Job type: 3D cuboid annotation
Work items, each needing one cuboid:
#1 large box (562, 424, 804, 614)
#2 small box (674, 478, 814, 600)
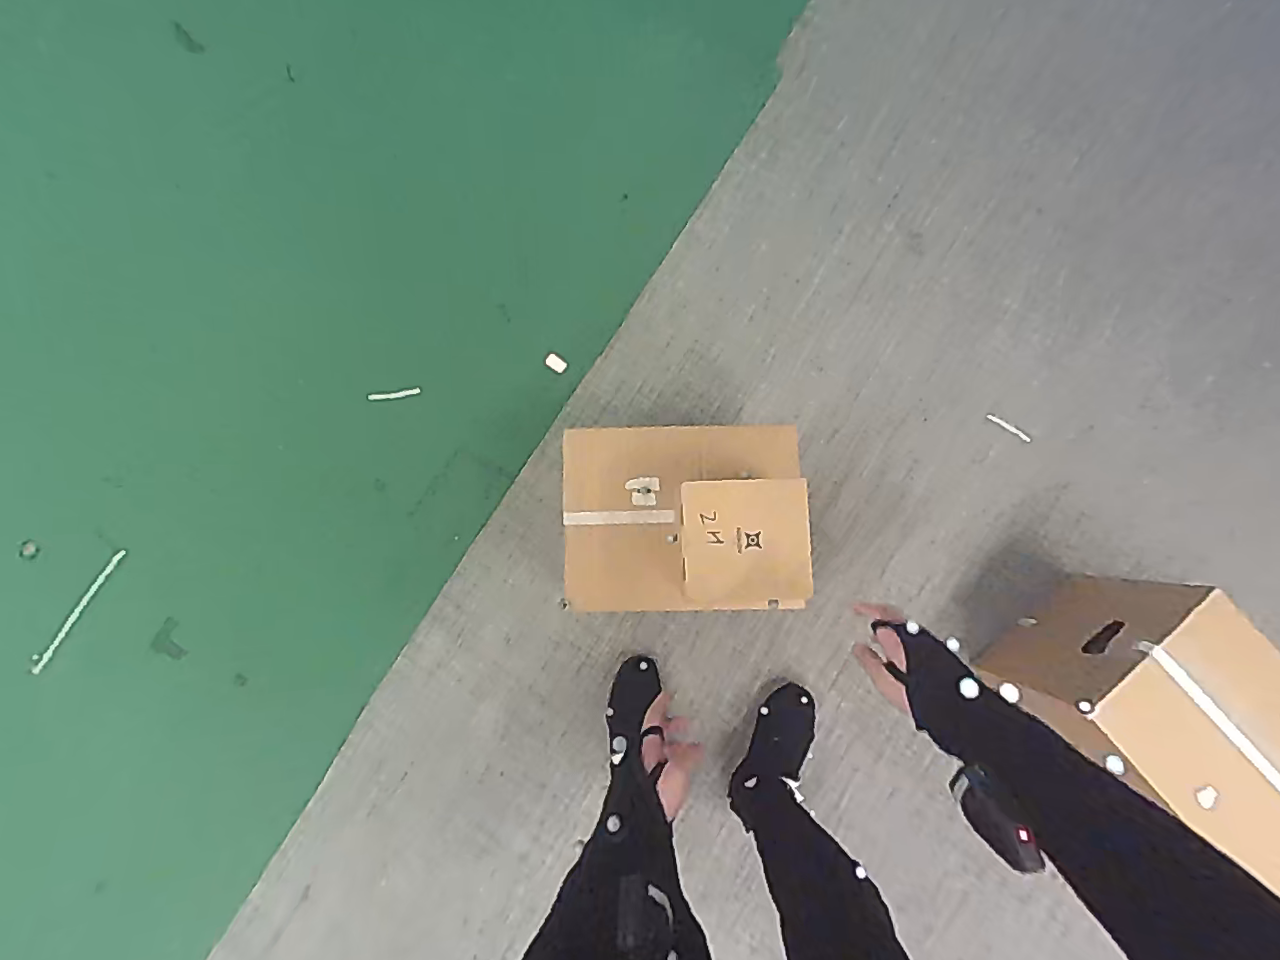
[{"bbox_3d":[0.074,0.079,1.057,0.408,0.320,0.320,-1,83,1],"label":"large box"},{"bbox_3d":[0.145,0.084,0.807,0.179,0.176,0.168,-2,85,0],"label":"small box"}]
